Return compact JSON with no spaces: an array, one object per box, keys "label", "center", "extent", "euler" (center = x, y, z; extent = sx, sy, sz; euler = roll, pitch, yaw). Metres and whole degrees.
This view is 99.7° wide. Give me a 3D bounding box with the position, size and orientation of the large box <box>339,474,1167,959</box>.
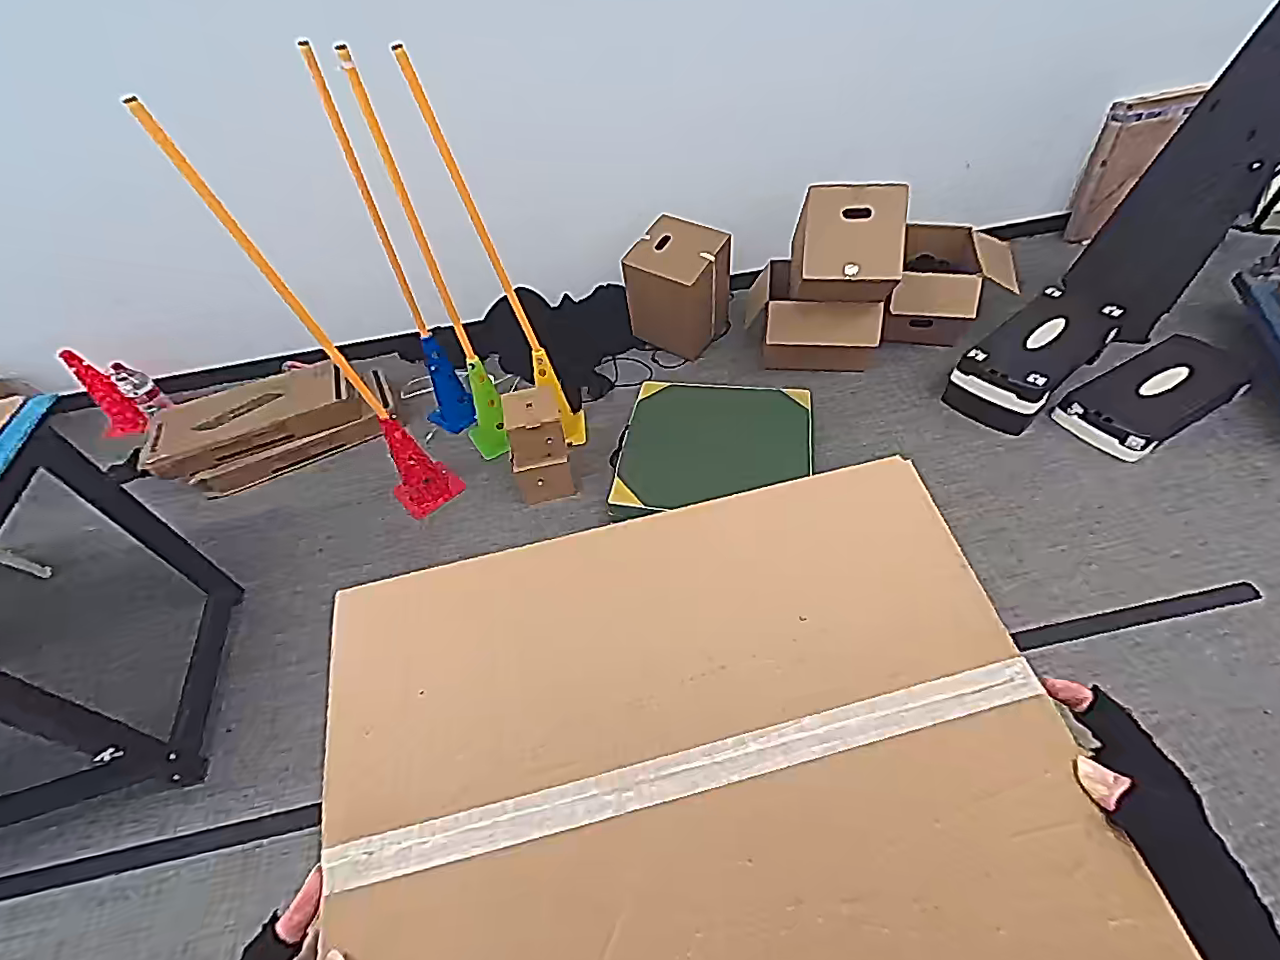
[{"label":"large box","center":[0.041,0.241,0.438],"extent":[0.408,0.320,0.320],"euler":[-14,60,-3]}]
